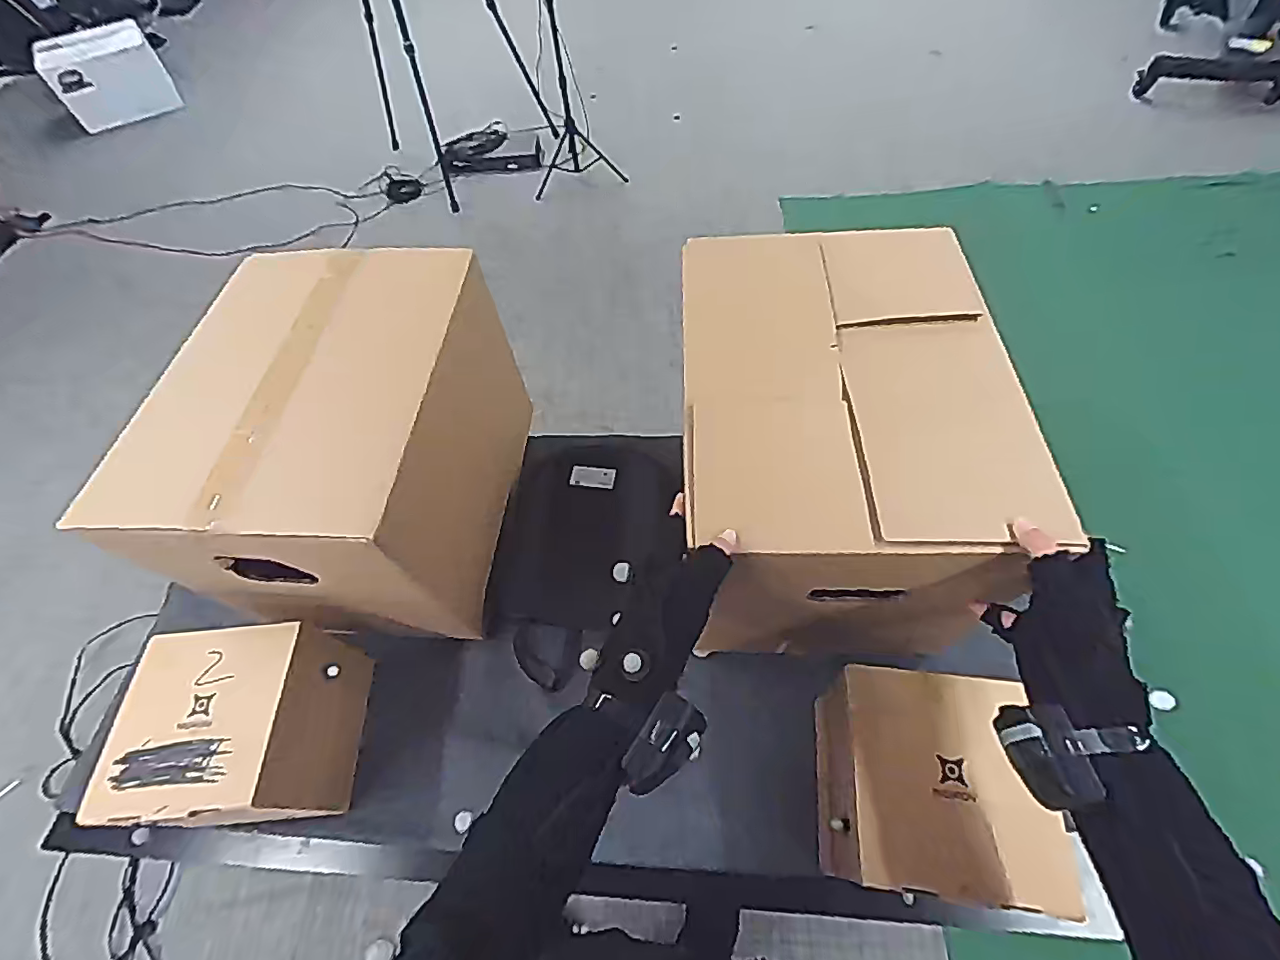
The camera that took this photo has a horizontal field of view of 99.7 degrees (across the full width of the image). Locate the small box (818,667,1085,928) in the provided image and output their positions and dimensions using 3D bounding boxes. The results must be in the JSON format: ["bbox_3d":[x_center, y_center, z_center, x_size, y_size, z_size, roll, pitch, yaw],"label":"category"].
[{"bbox_3d":[0.276,0.302,0.531,0.168,0.176,0.179,4,59,8],"label":"small box"}]
